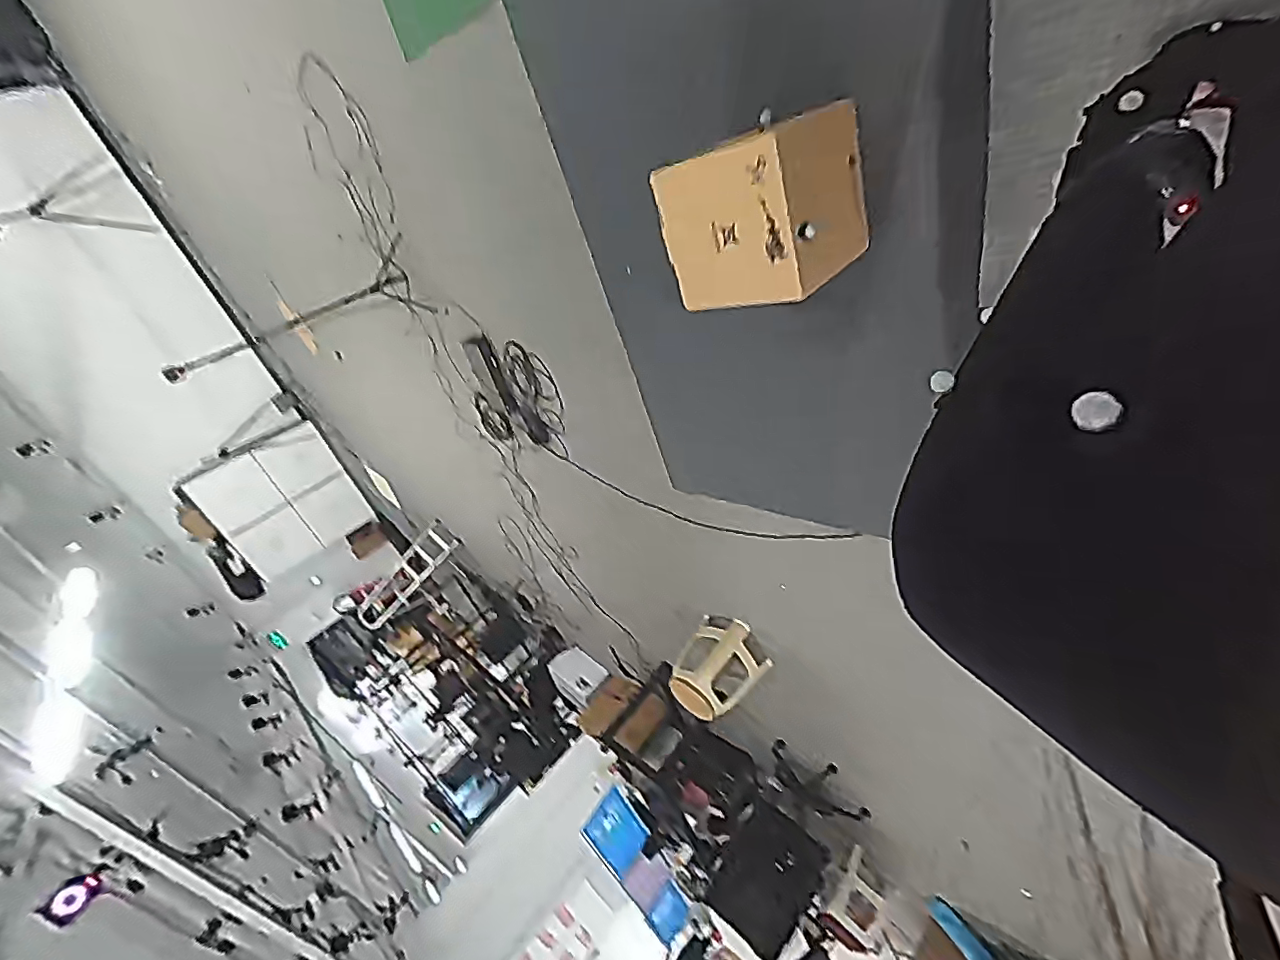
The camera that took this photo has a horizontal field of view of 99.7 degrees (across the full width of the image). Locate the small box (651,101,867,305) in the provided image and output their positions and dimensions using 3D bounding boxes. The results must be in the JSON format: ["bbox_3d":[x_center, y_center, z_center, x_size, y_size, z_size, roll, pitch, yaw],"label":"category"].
[{"bbox_3d":[0.149,-0.329,0.661,0.179,0.176,0.168,14,135,46],"label":"small box"}]
